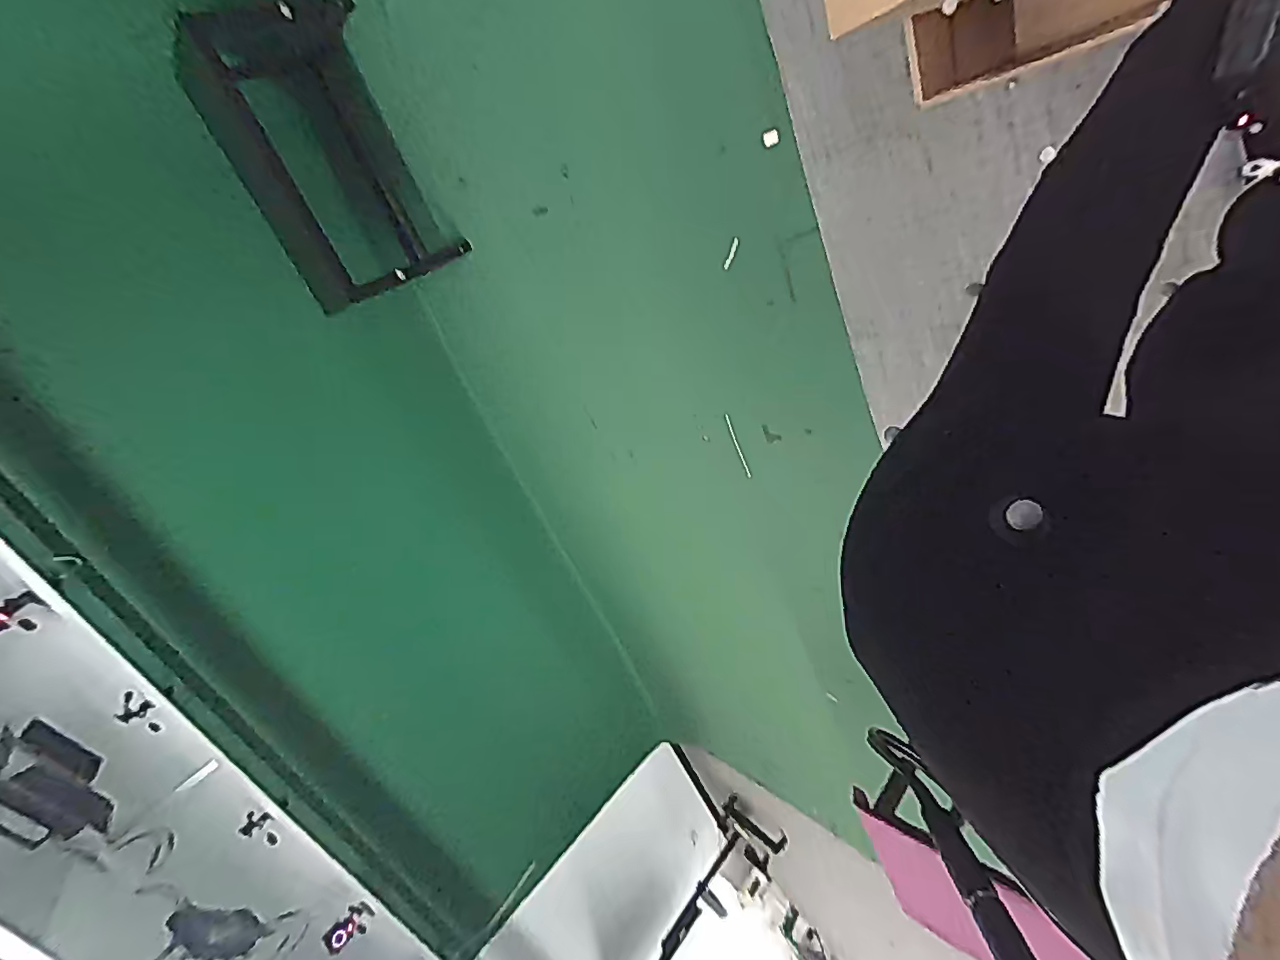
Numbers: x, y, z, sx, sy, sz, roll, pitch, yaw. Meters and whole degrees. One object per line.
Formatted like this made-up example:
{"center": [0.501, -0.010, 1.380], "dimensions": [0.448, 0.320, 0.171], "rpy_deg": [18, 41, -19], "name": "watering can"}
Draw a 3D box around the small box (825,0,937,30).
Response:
{"center": [0.272, -0.553, 0.486], "dimensions": [0.168, 0.176, 0.179], "rpy_deg": [14, 134, 50], "name": "small box"}
